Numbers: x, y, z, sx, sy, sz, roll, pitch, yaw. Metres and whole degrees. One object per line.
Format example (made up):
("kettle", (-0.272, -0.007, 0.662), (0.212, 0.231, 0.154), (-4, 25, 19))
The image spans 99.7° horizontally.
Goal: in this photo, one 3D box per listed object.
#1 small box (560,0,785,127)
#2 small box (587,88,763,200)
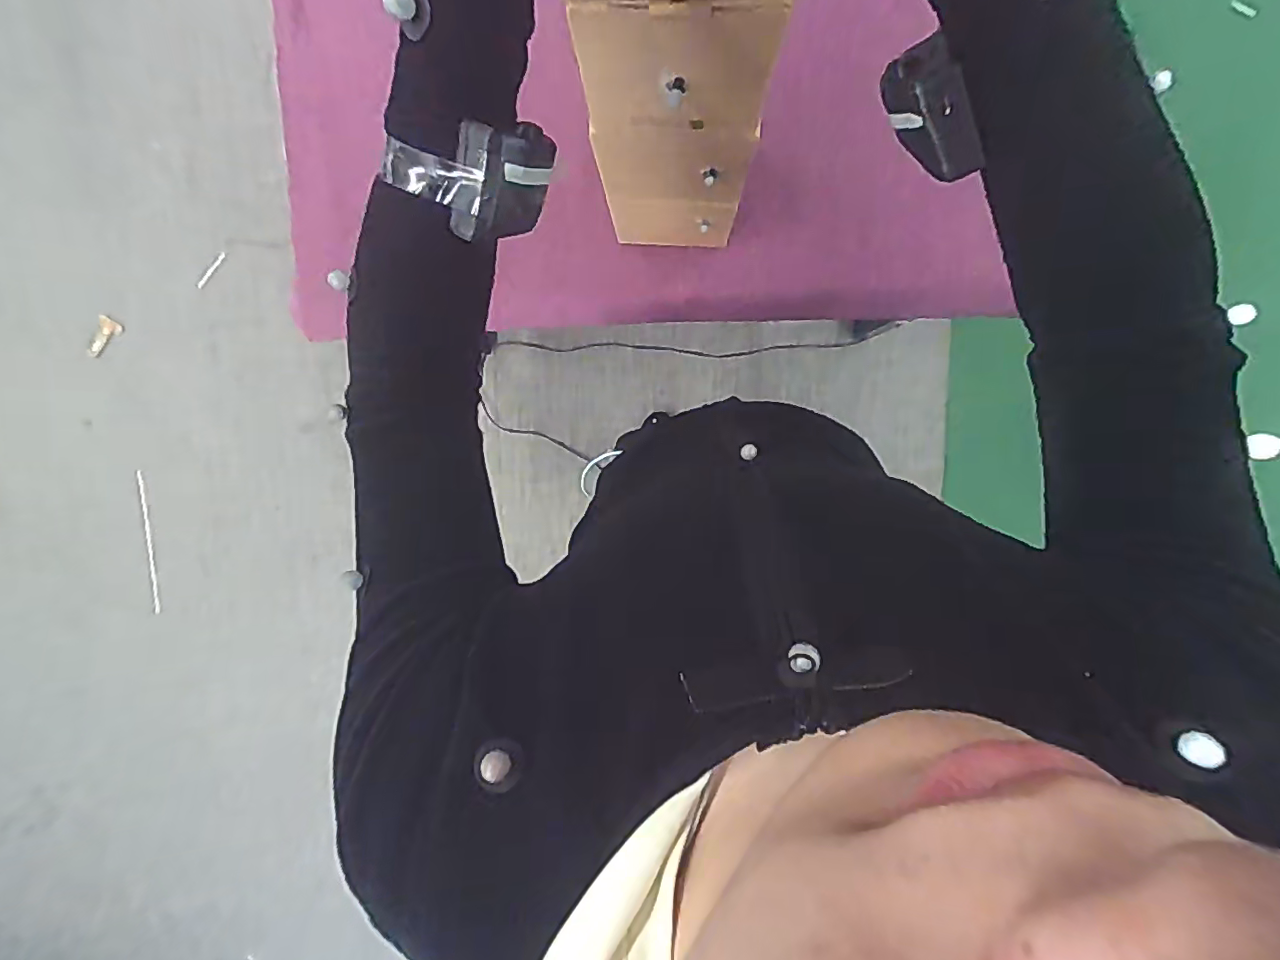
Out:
("small box", (0.033, -0.429, 0.454), (0.168, 0.176, 0.179), (4, 96, 2))
("small box", (0.041, -0.438, 0.616), (0.179, 0.176, 0.168), (4, 96, 3))
